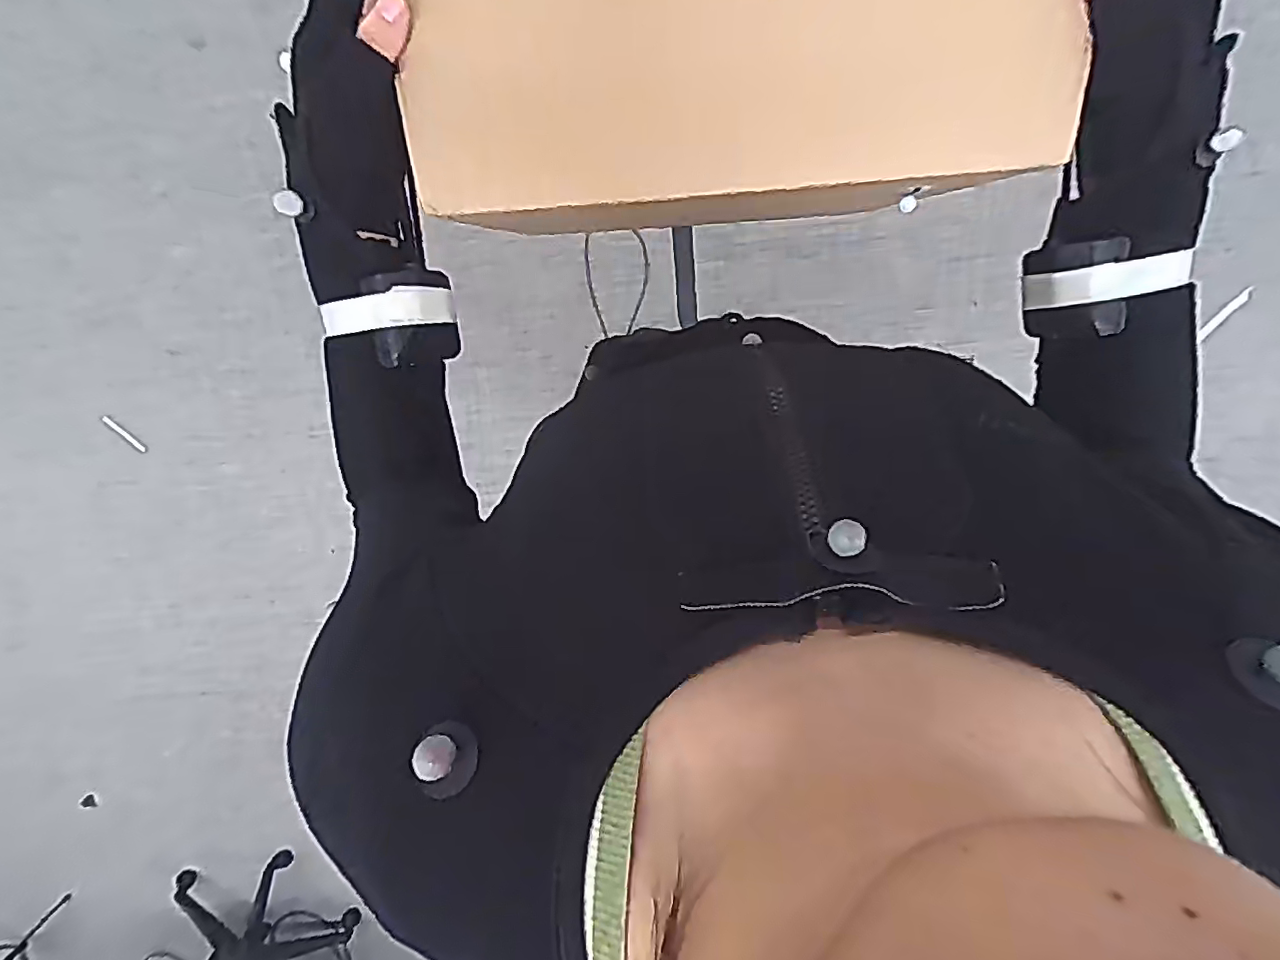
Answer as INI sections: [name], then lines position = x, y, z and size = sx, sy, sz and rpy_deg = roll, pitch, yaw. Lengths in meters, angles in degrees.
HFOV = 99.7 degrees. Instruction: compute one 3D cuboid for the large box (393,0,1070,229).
[large box]
position = 0.052, -0.389, 0.433
size = 0.408, 0.320, 0.320
rpy_deg = -3, 112, 2
